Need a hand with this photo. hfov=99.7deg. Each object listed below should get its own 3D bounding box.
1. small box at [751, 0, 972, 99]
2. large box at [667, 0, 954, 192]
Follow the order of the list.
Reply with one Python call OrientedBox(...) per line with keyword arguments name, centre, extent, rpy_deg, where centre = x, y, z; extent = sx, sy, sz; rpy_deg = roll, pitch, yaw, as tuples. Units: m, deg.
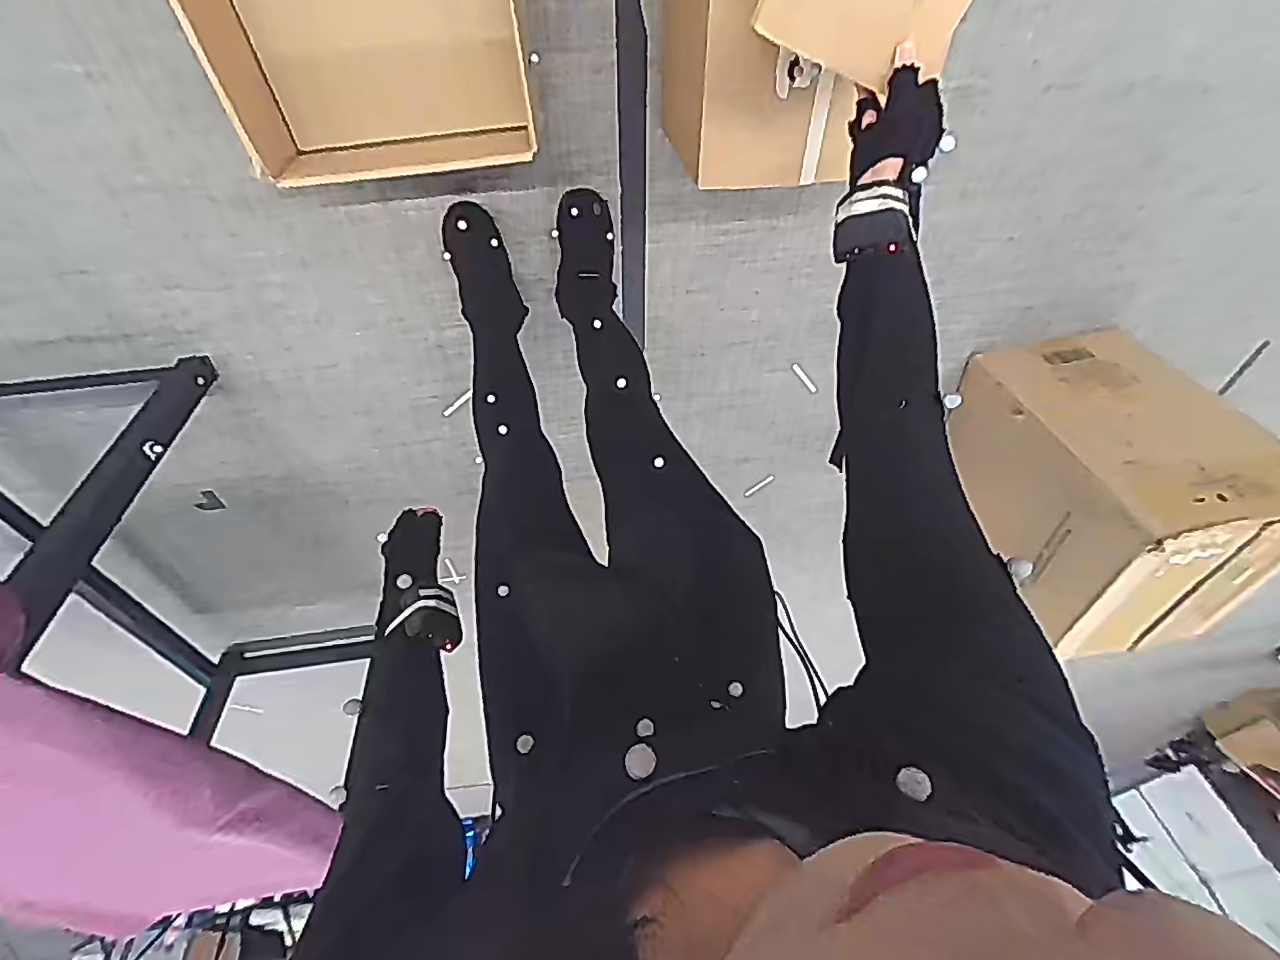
OrientedBox(name="small box", centre=(0.218, -0.503, 0.513), extent=(0.179, 0.176, 0.168), rpy_deg=(18, 135, -10))
OrientedBox(name="large box", centre=(0.213, -0.665, 0.725), extent=(0.320, 0.320, 0.408), rpy_deg=(-6, 137, -4))
